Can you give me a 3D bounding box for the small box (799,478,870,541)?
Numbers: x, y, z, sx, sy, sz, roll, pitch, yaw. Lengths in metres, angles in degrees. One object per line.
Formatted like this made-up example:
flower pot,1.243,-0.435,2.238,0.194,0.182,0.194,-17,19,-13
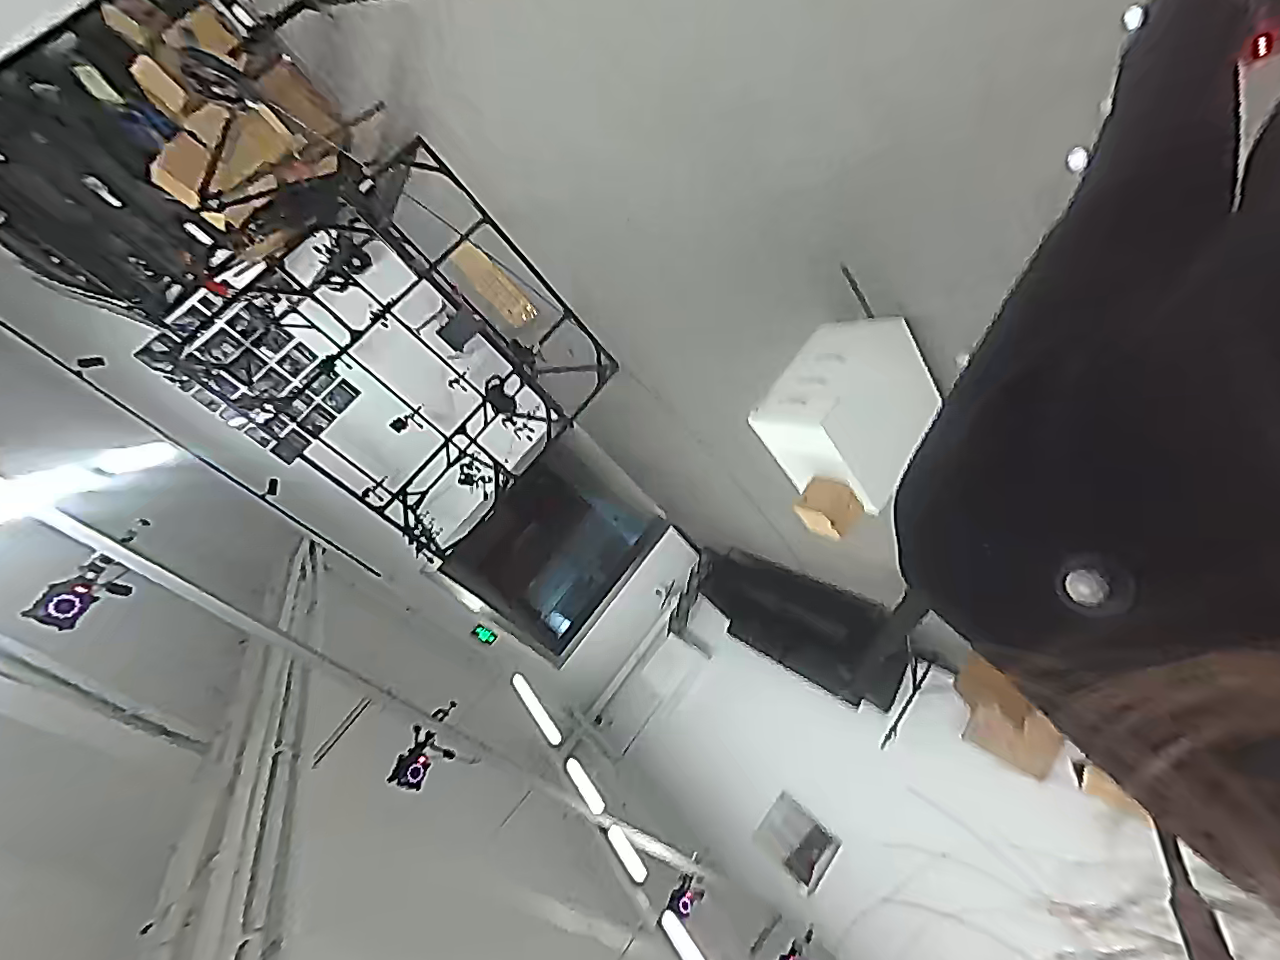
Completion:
small box,0.787,0.113,2.178,0.168,0.176,0.179,46,167,-27
